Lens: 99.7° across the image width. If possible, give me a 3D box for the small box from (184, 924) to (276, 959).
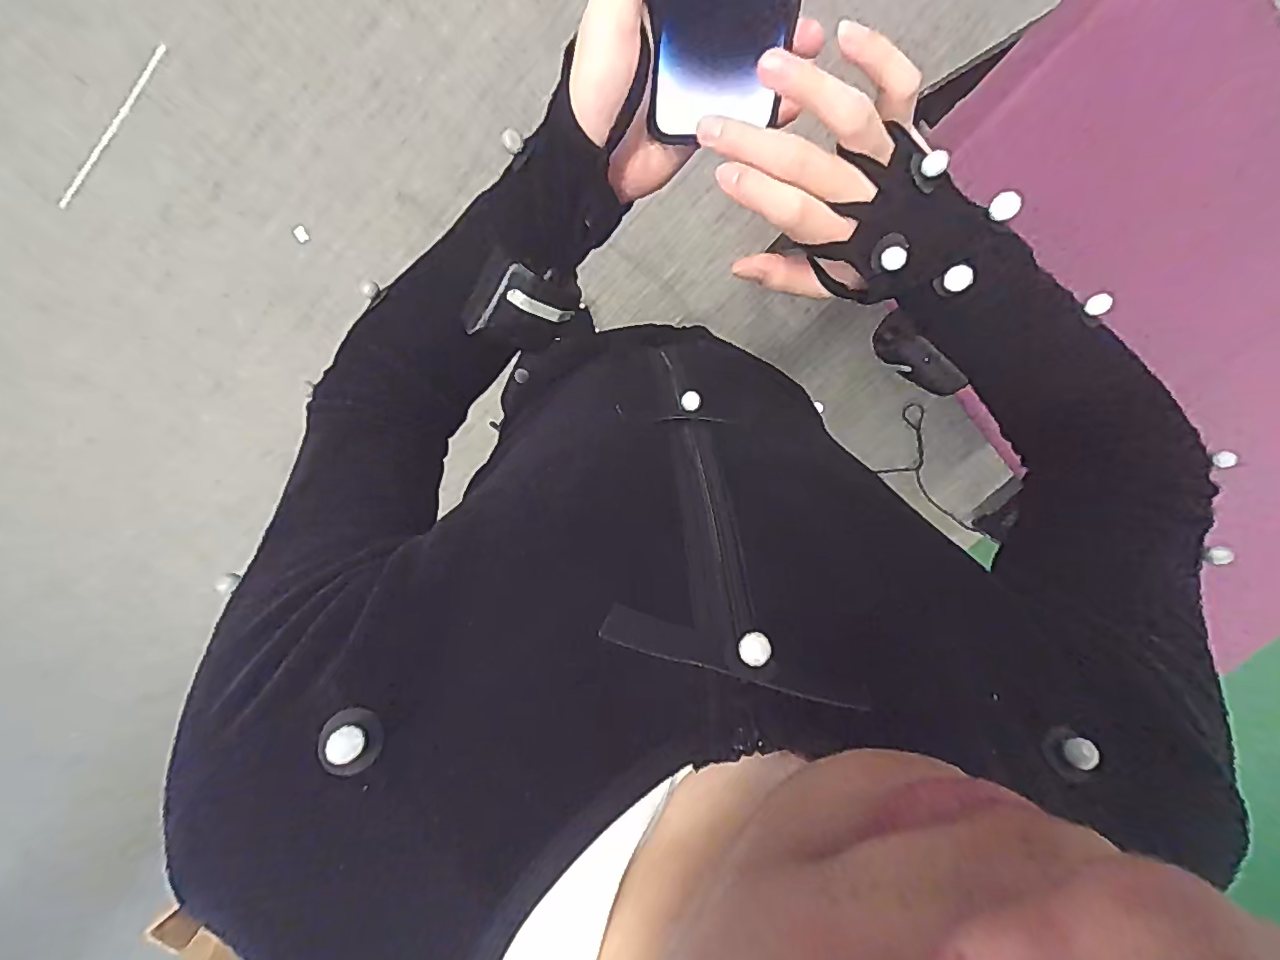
[{"bbox_3d":[-1.010,1.207,1.277,0.179,0.176,0.168,-38,106,8],"label":"small box"}]
